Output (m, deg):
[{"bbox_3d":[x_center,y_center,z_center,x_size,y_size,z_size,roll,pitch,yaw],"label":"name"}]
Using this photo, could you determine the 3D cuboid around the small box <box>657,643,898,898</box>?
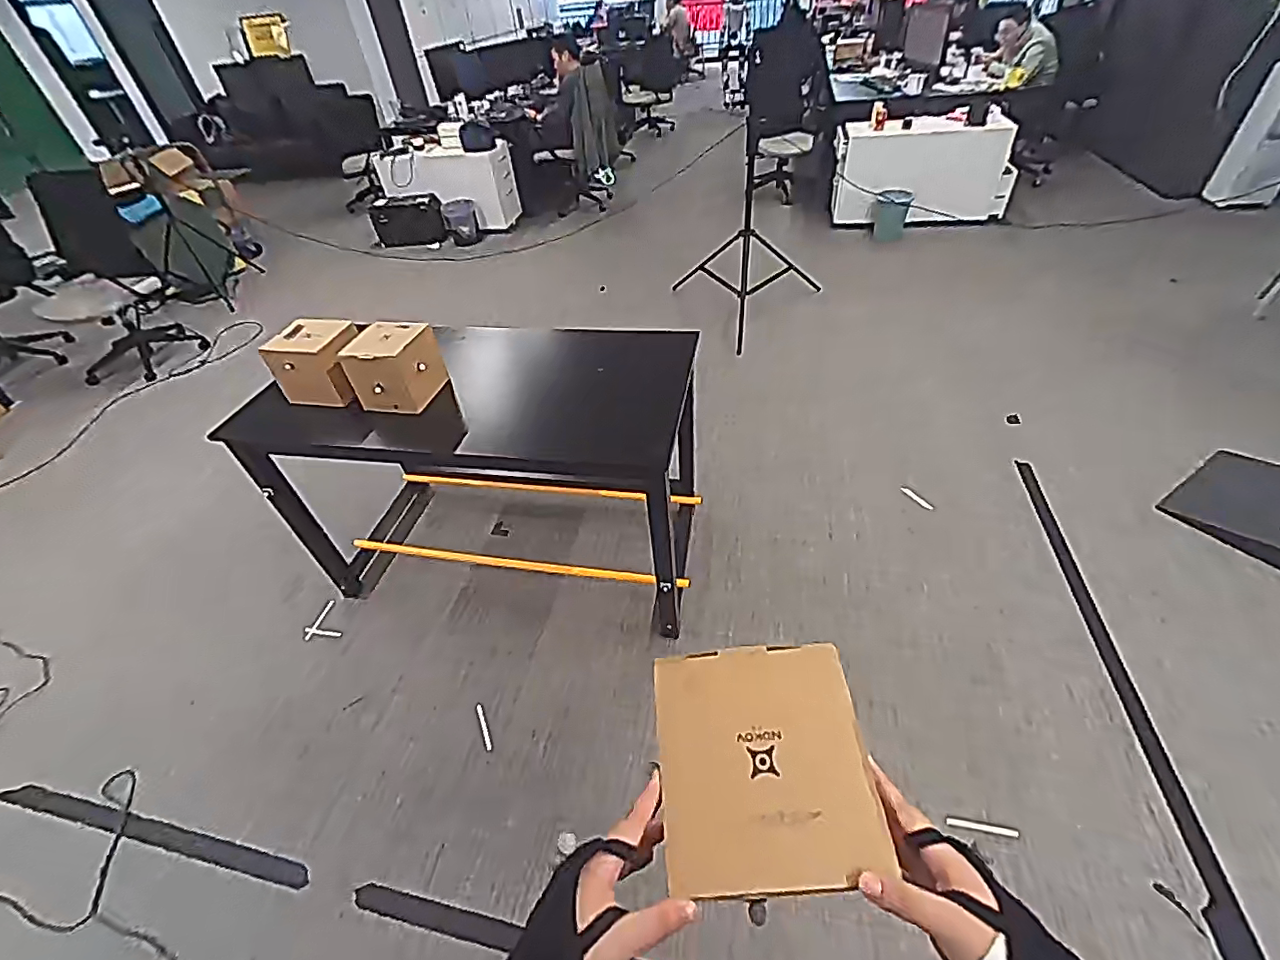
[{"bbox_3d":[0.105,0.270,0.499,0.168,0.176,0.179,-6,52,2],"label":"small box"}]

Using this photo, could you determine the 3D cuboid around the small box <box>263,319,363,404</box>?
[{"bbox_3d":[-0.854,-0.321,1.467,0.179,0.176,0.168,5,45,11],"label":"small box"}]

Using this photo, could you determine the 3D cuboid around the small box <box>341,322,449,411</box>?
[{"bbox_3d":[-0.628,-0.296,1.417,0.168,0.176,0.179,5,45,12],"label":"small box"}]
